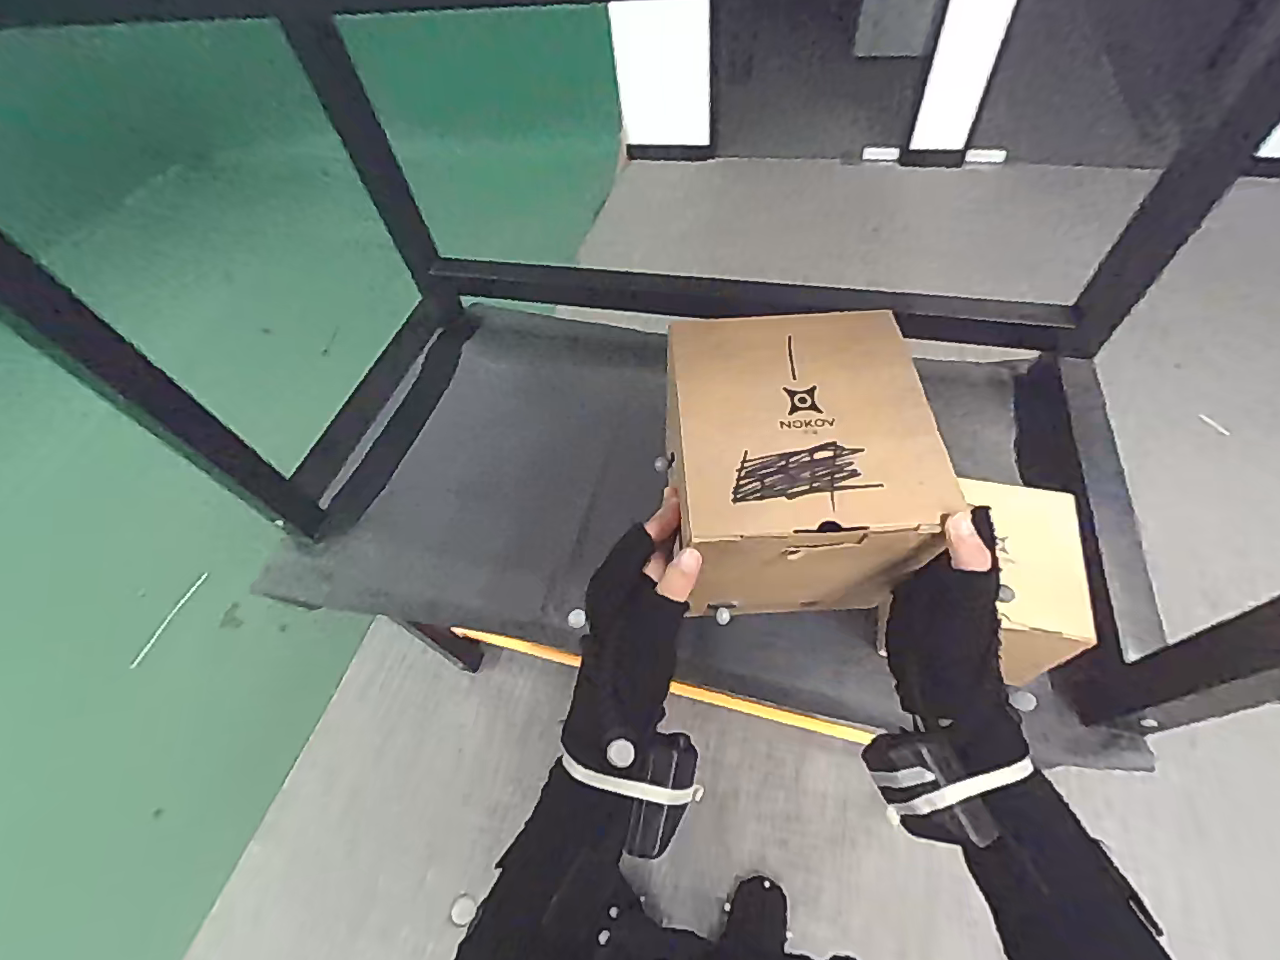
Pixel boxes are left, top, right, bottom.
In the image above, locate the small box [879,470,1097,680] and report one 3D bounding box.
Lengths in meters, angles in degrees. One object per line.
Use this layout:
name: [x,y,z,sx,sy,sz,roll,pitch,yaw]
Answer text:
small box: [0.394,0.116,0.648,0.168,0.176,0.179,9,58,15]
